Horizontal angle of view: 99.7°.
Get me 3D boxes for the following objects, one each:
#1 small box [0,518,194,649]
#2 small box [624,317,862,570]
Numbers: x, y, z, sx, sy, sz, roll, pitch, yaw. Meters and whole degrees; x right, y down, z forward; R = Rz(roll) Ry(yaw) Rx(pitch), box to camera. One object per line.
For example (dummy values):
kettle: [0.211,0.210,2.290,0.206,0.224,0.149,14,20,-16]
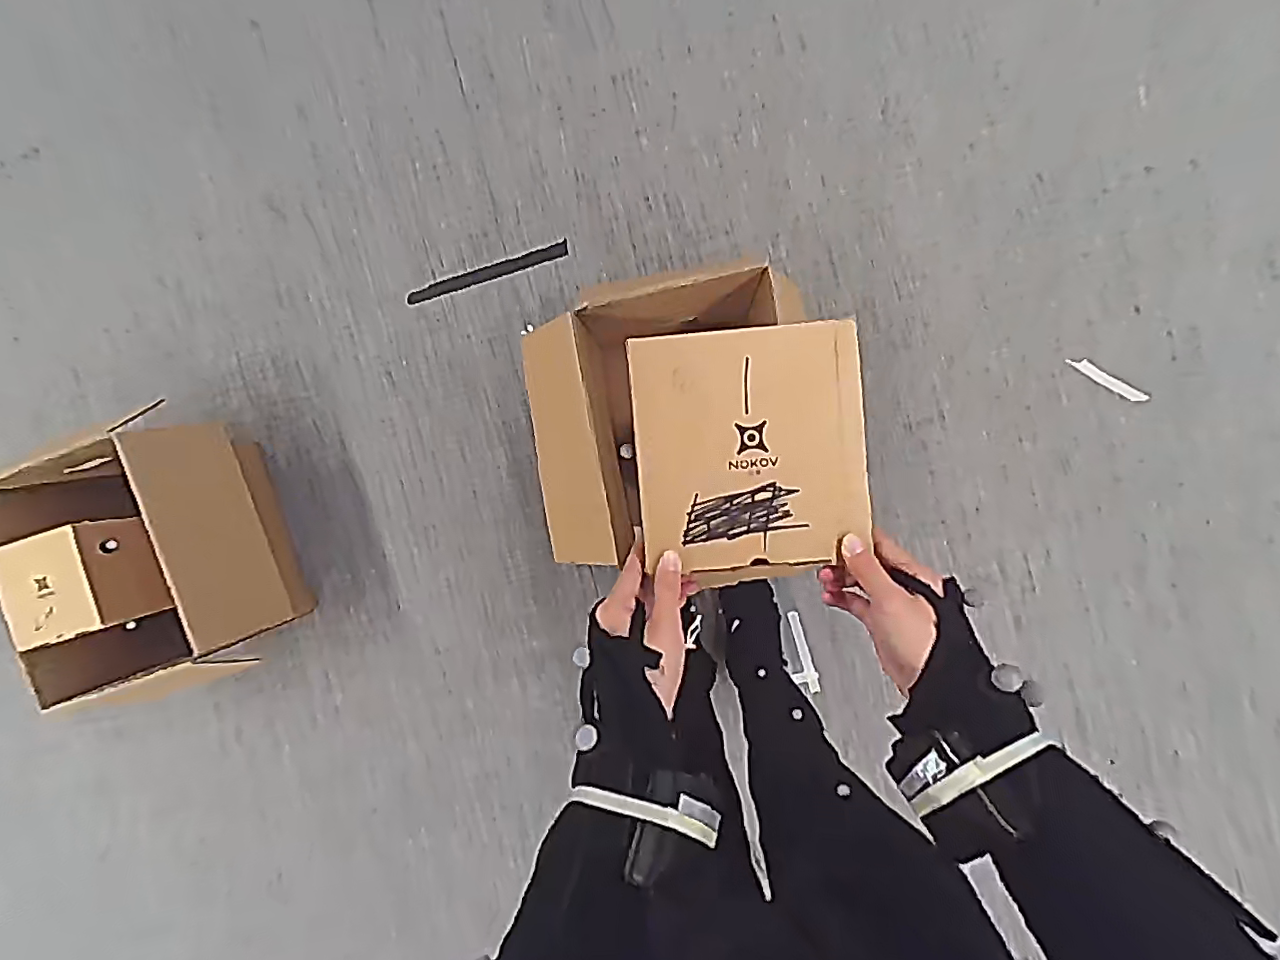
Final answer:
small box: [-0.951,0.171,0.956,0.168,0.176,0.179,-16,92,6]
small box: [0.078,-0.028,0.473,0.168,0.176,0.179,-5,91,1]
